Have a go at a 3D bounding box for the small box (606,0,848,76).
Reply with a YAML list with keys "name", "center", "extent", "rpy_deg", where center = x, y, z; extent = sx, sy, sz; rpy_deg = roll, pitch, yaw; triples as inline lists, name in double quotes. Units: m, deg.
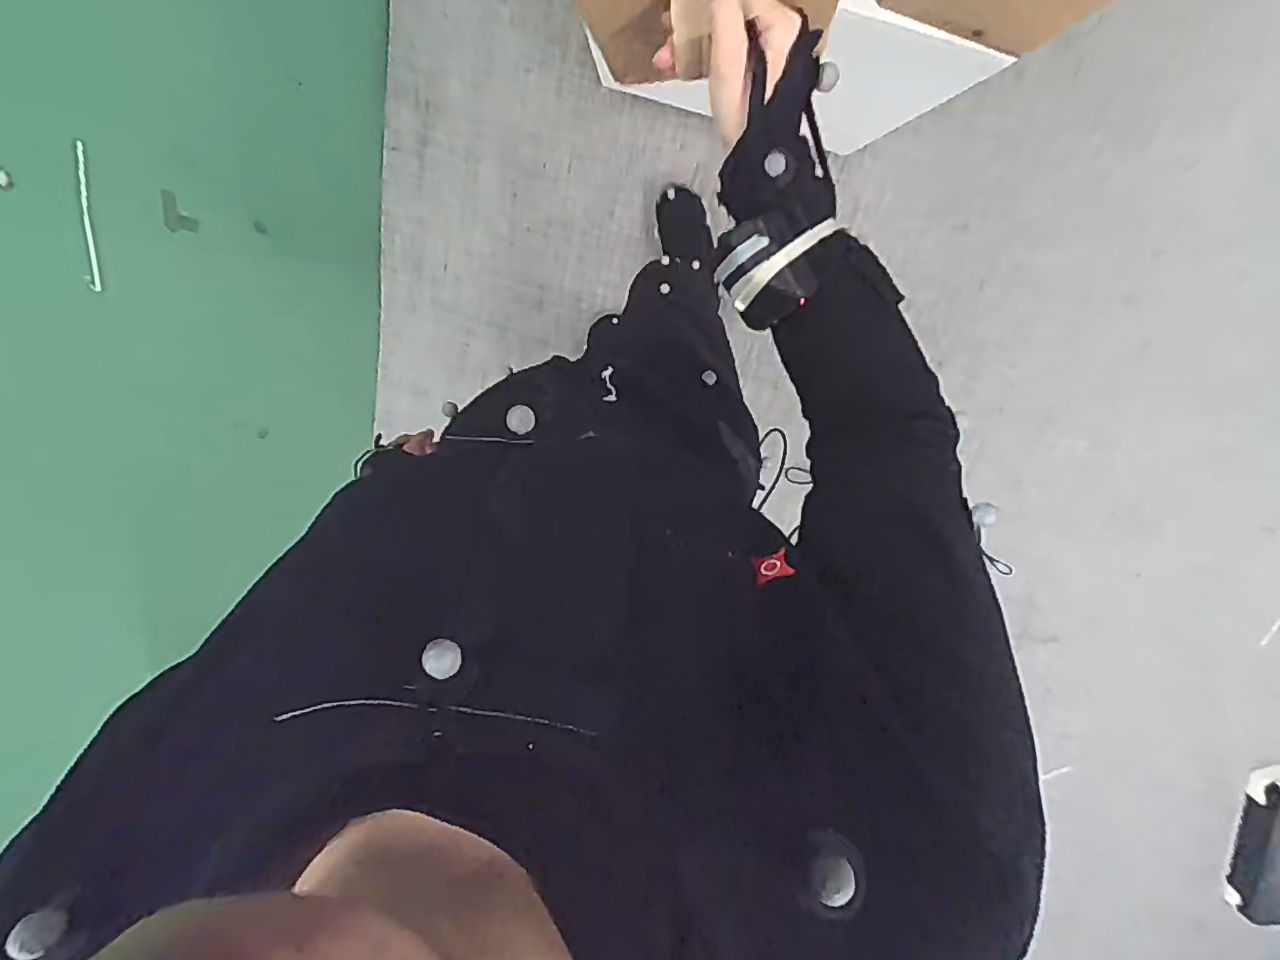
- name: "small box"
  center: [0.052, -0.393, 0.337]
  extent: [0.168, 0.176, 0.179]
  rpy_deg: [-1, 108, 10]
